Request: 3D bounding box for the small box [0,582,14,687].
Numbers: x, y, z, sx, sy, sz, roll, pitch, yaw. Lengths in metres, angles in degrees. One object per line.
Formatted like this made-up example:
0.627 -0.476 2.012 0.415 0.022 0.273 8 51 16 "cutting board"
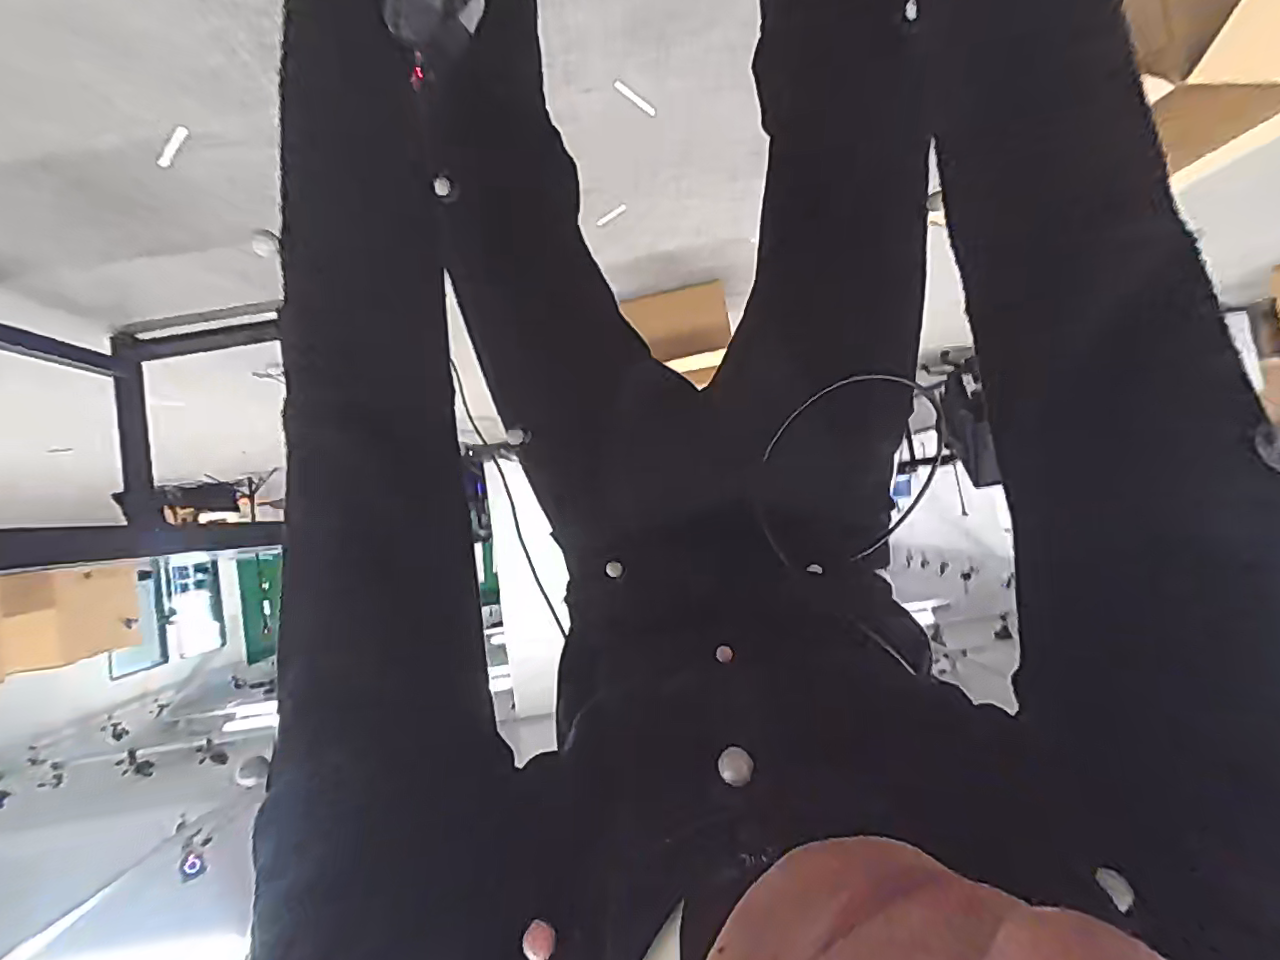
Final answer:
-1.037 0.233 0.735 0.168 0.176 0.179 -8 178 -3 "small box"
